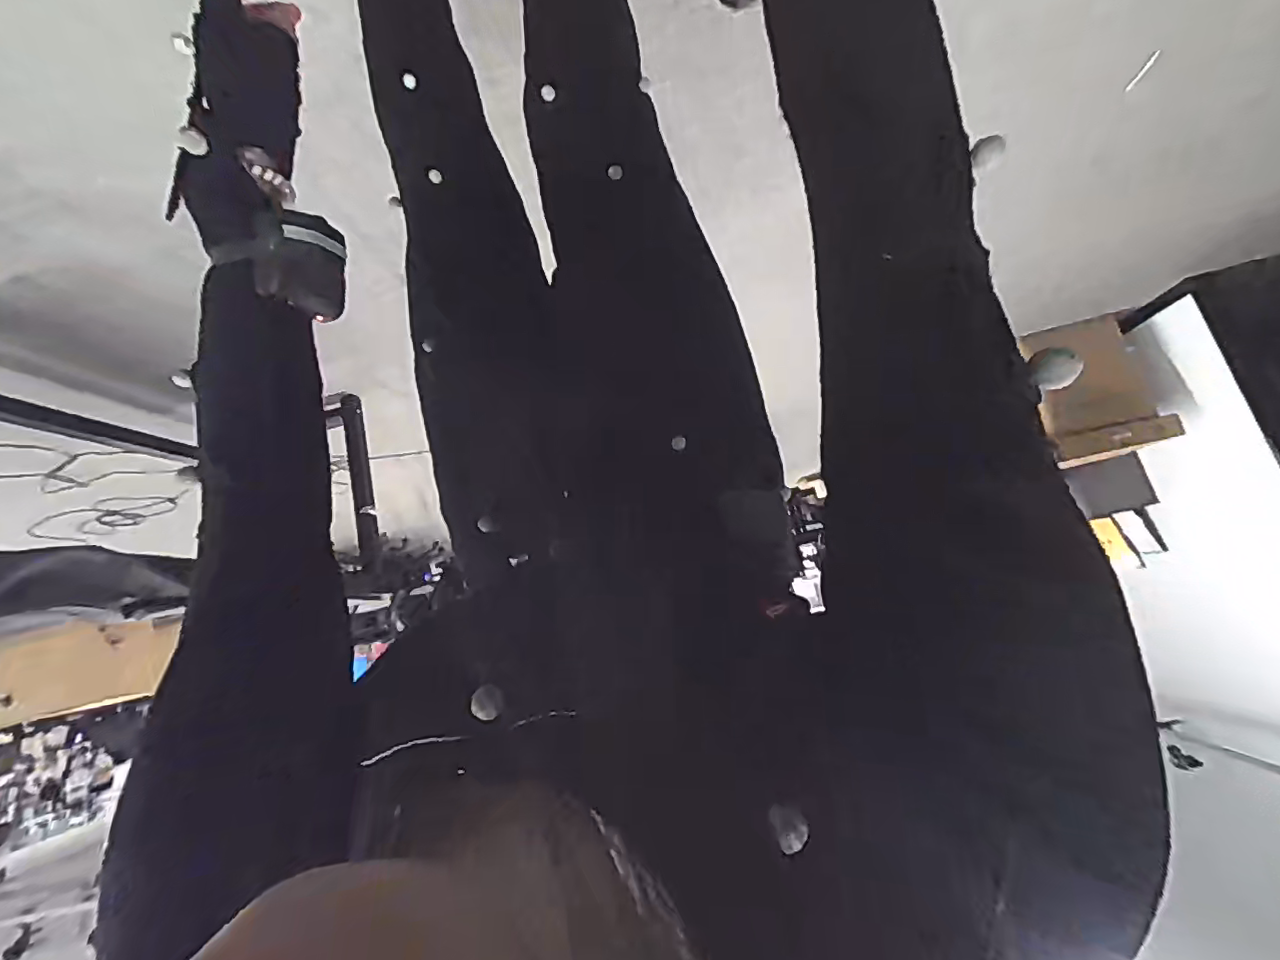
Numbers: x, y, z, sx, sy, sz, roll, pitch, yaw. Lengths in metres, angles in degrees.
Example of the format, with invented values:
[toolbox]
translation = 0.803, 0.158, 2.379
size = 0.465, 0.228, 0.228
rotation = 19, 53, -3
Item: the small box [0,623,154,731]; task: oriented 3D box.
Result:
[small box]
translation = -1.154, 0.395, 1.111
size = 0.179, 0.176, 0.168
rotation = -14, 168, 3
